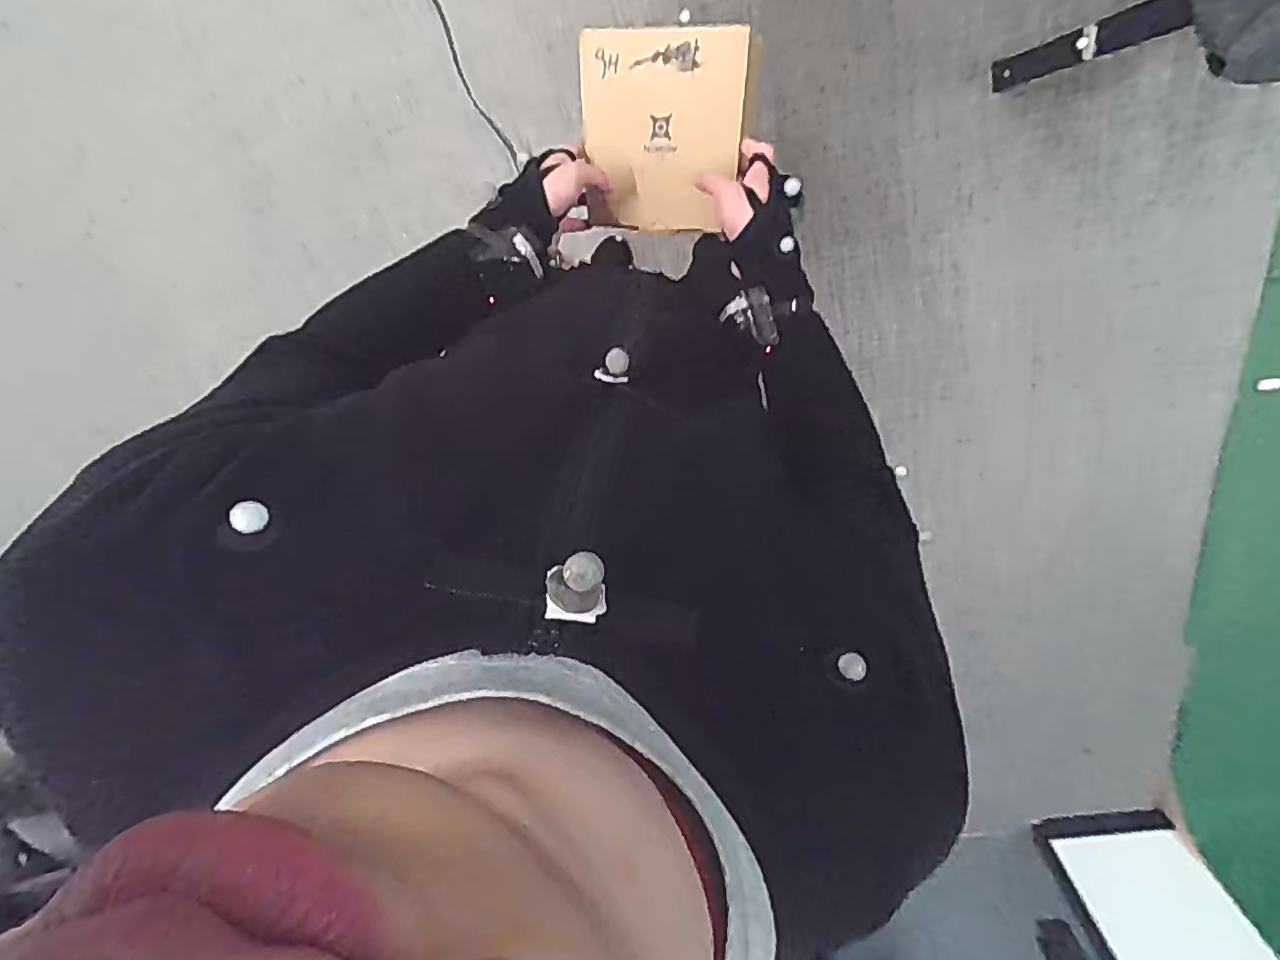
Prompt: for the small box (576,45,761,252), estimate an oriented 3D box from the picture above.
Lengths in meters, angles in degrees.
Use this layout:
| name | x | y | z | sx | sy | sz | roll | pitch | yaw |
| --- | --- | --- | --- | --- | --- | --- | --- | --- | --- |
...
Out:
| name | x | y | z | sx | sy | sz | roll | pitch | yaw |
| --- | --- | --- | --- | --- | --- | --- | --- | --- | --- |
| small box | 0.039 | -0.373 | 0.605 | 0.168 | 0.176 | 0.179 | 8 | 128 | 12 |
